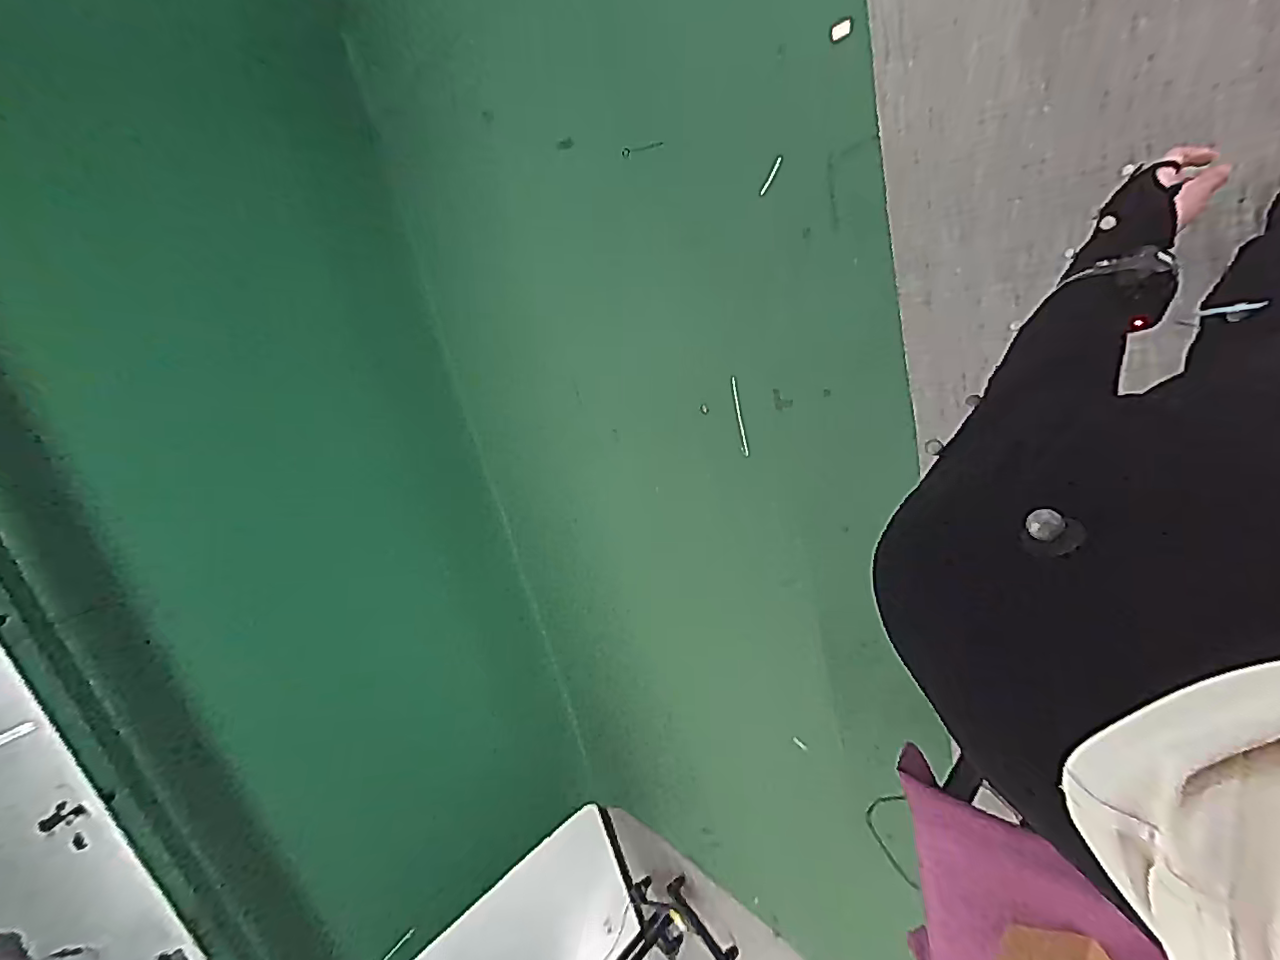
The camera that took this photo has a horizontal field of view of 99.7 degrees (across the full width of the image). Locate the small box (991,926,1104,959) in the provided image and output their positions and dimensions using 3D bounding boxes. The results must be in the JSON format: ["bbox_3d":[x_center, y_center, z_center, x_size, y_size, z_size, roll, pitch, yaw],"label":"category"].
[{"bbox_3d":[0.784,0.983,1.007,0.168,0.176,0.179,54,141,12],"label":"small box"}]
